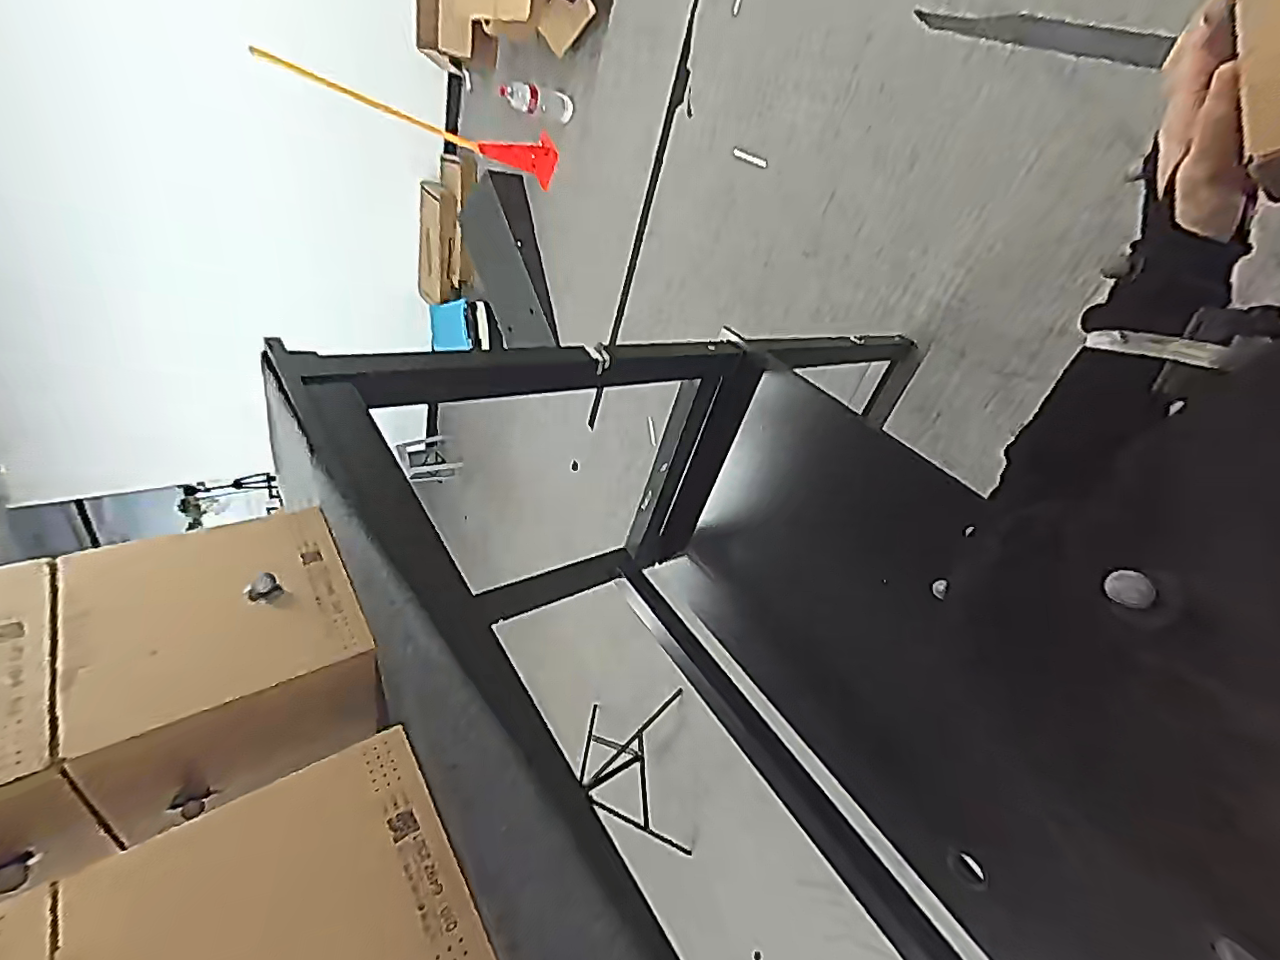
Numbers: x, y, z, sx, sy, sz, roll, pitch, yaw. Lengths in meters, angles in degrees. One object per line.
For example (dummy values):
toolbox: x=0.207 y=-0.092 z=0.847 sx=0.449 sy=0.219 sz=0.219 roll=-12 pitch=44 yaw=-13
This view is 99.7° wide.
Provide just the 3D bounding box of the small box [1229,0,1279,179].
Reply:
small box: x=0.371 y=-0.247 z=0.221 sx=0.168 sy=0.176 sz=0.179 roll=-3 pitch=98 yaw=53

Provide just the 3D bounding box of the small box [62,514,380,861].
small box: x=-0.324 y=0.155 z=0.442 sx=0.168 sy=0.176 sz=0.179 roll=47 pitch=134 yaw=32

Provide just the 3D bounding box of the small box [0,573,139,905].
small box: x=-0.452 y=0.187 z=0.344 sx=0.168 sy=0.176 sz=0.179 roll=49 pitch=134 yaw=32
